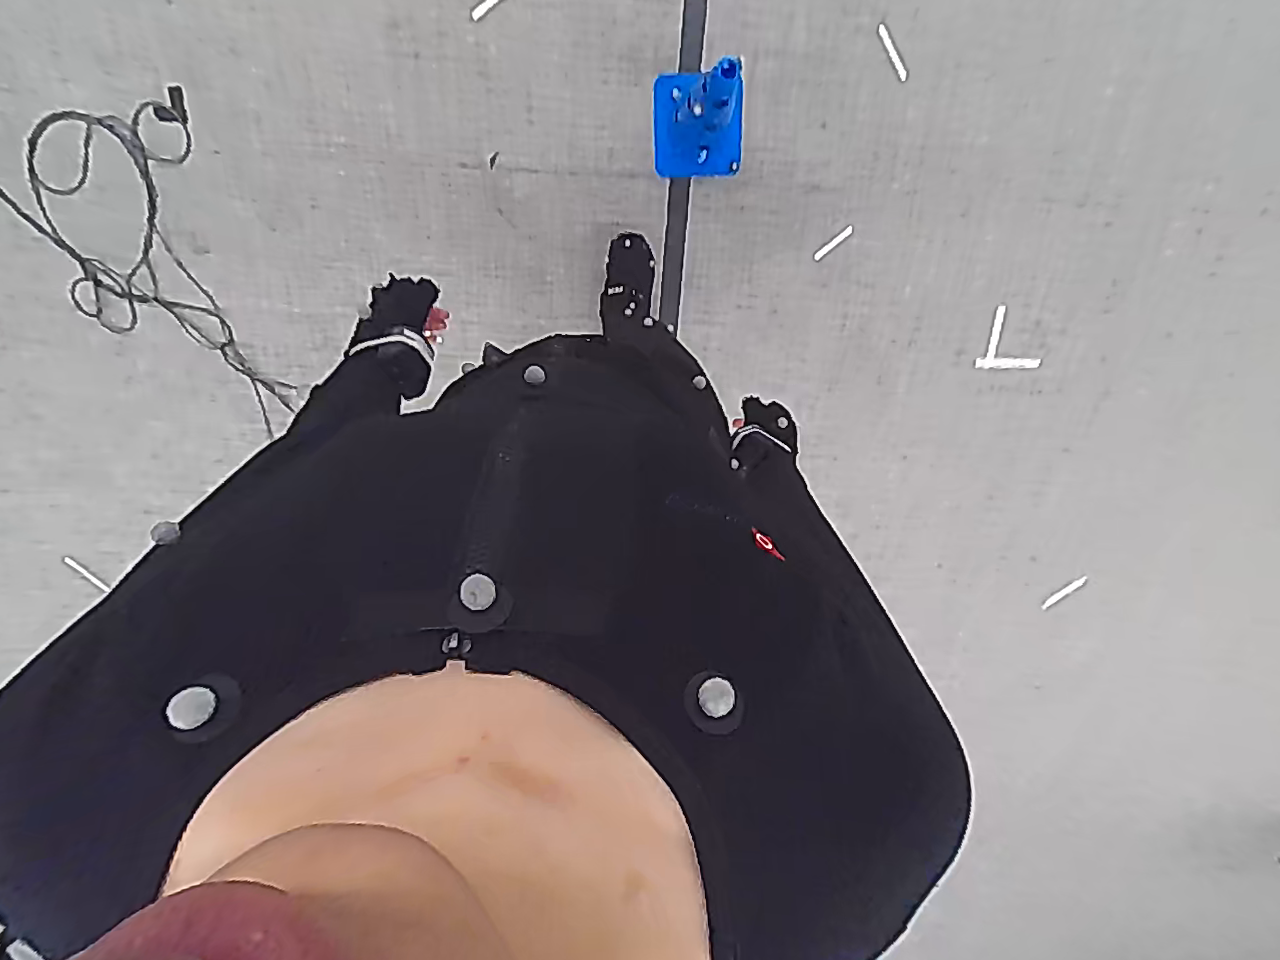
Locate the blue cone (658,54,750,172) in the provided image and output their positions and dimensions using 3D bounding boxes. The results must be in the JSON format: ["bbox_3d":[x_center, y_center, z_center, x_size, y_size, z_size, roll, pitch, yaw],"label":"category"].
[{"bbox_3d":[0.144,-0.749,1.067,0.192,0.380,0.193,-1,110,-3],"label":"blue cone"}]
